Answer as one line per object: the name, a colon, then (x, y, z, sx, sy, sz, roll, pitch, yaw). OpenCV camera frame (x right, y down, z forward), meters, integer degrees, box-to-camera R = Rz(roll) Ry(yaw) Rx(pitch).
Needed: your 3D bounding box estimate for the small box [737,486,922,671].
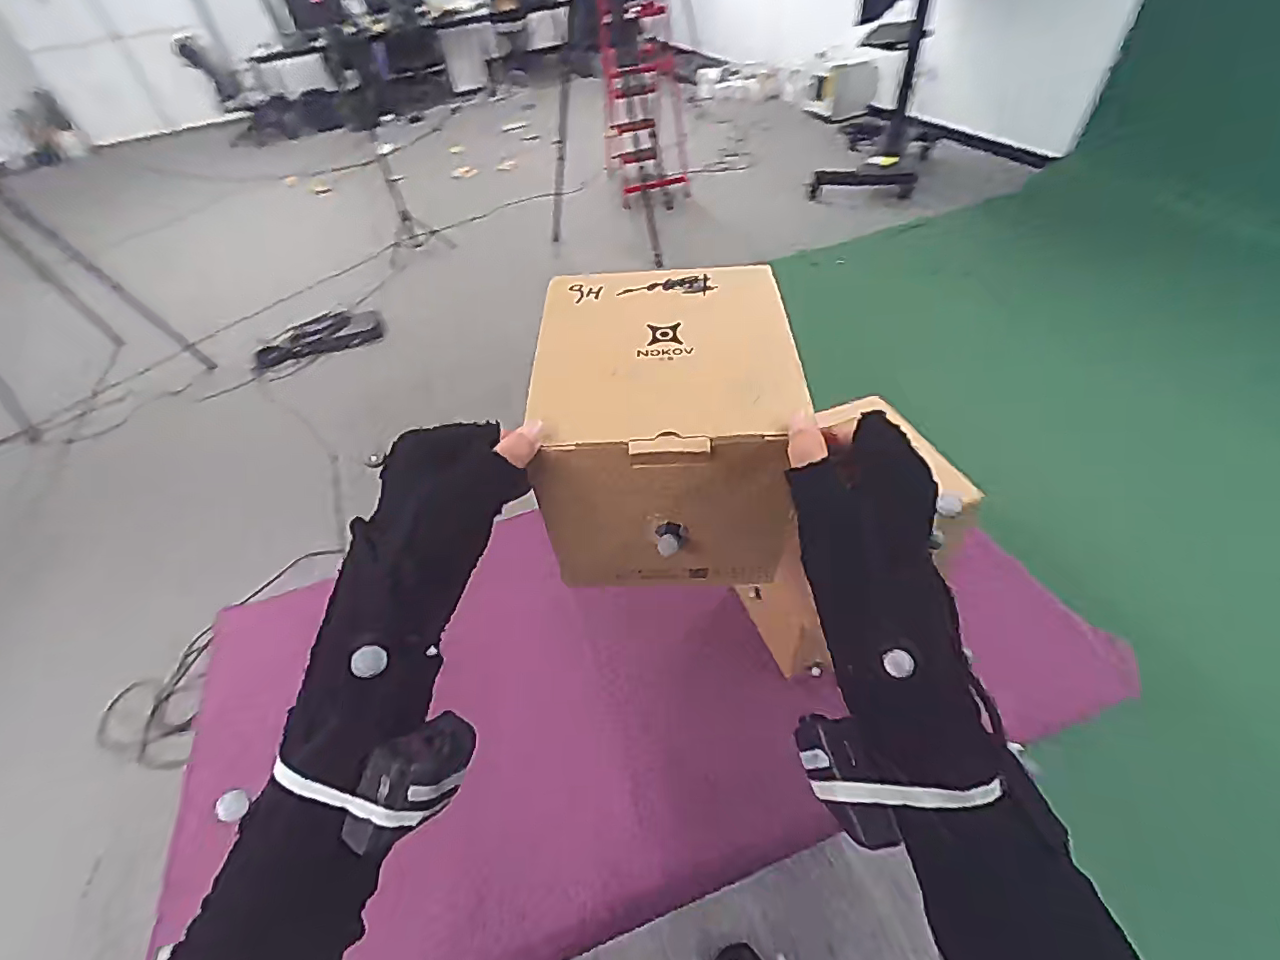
small box: (0.243, 0.142, 0.744, 0.168, 0.176, 0.179, -15, 48, -8)

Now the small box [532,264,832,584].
small box: (0.028, -0.033, 0.401, 0.168, 0.176, 0.179, -1, 53, 3)
